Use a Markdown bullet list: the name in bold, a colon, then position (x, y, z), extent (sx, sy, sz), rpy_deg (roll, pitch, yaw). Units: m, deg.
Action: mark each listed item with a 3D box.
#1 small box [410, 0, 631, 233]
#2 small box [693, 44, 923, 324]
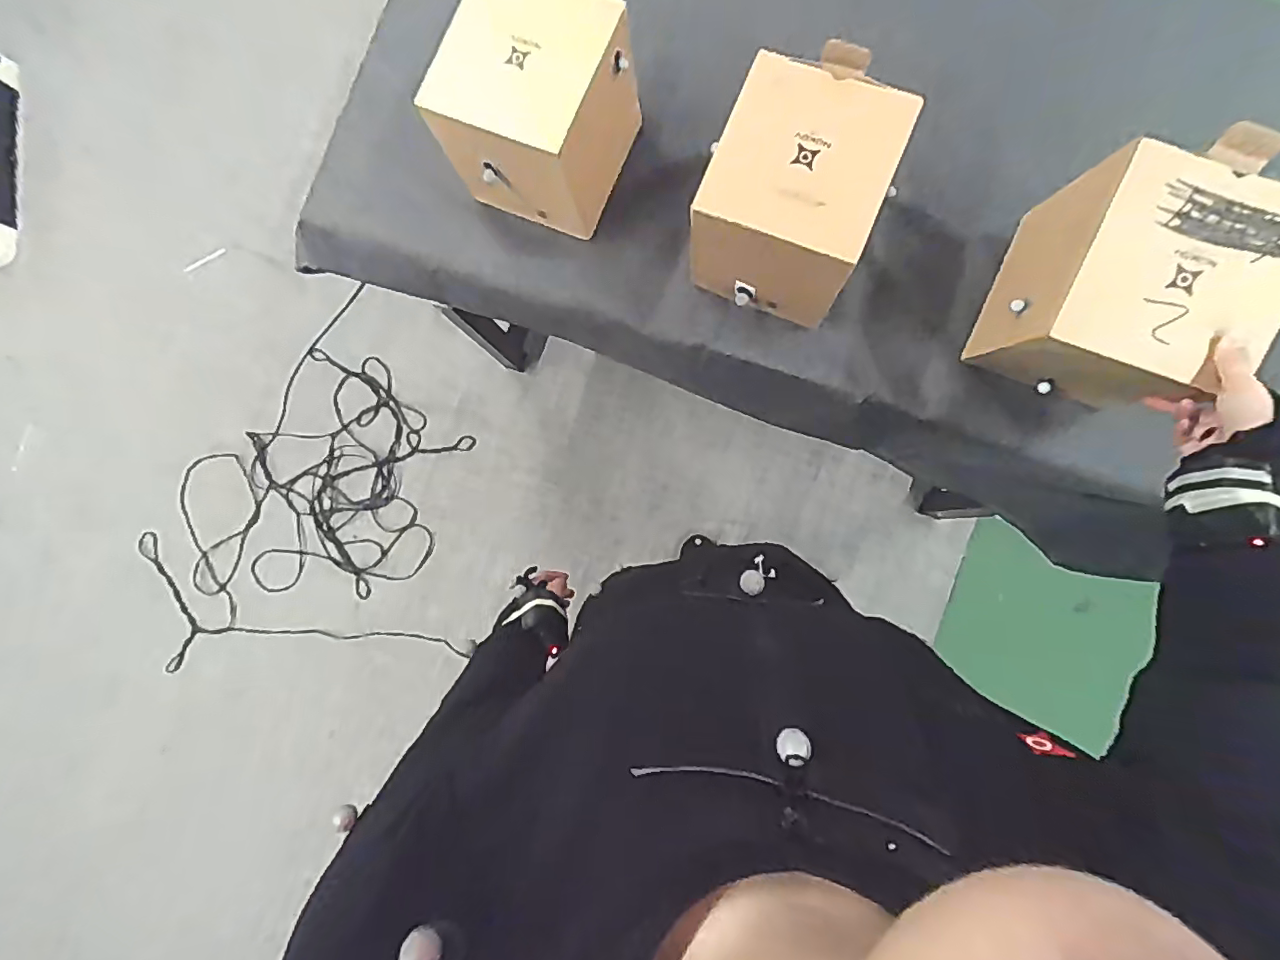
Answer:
- **small box**: position (-0.117, -0.418, 0.613), extent (0.168, 0.176, 0.179), rpy_deg (22, 86, 7)
- **small box**: position (0.161, -0.298, 0.579), extent (0.168, 0.176, 0.179), rpy_deg (22, 88, 8)
